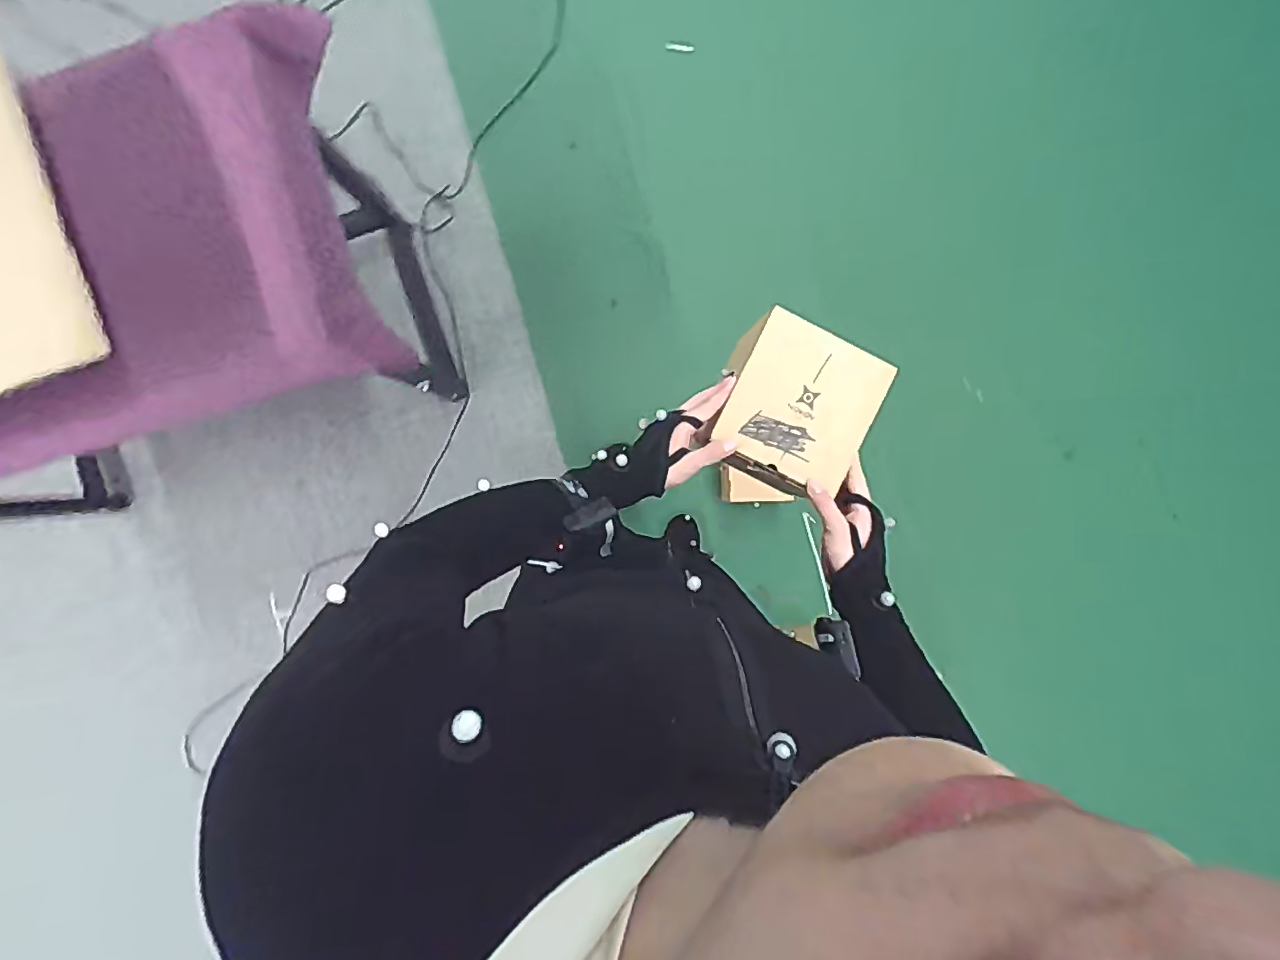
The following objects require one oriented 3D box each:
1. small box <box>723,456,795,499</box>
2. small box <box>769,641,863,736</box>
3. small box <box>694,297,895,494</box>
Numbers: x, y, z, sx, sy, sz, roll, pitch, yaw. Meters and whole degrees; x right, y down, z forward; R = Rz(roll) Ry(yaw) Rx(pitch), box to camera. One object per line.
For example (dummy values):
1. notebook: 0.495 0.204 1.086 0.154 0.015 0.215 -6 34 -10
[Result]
1. small box: 0.333 -0.034 1.537 0.179 0.176 0.168 0 91 3
2. small box: 0.440 0.521 1.373 0.179 0.176 0.168 -9 90 2
3. small box: 0.181 -0.097 0.696 0.168 0.176 0.179 26 90 -4
